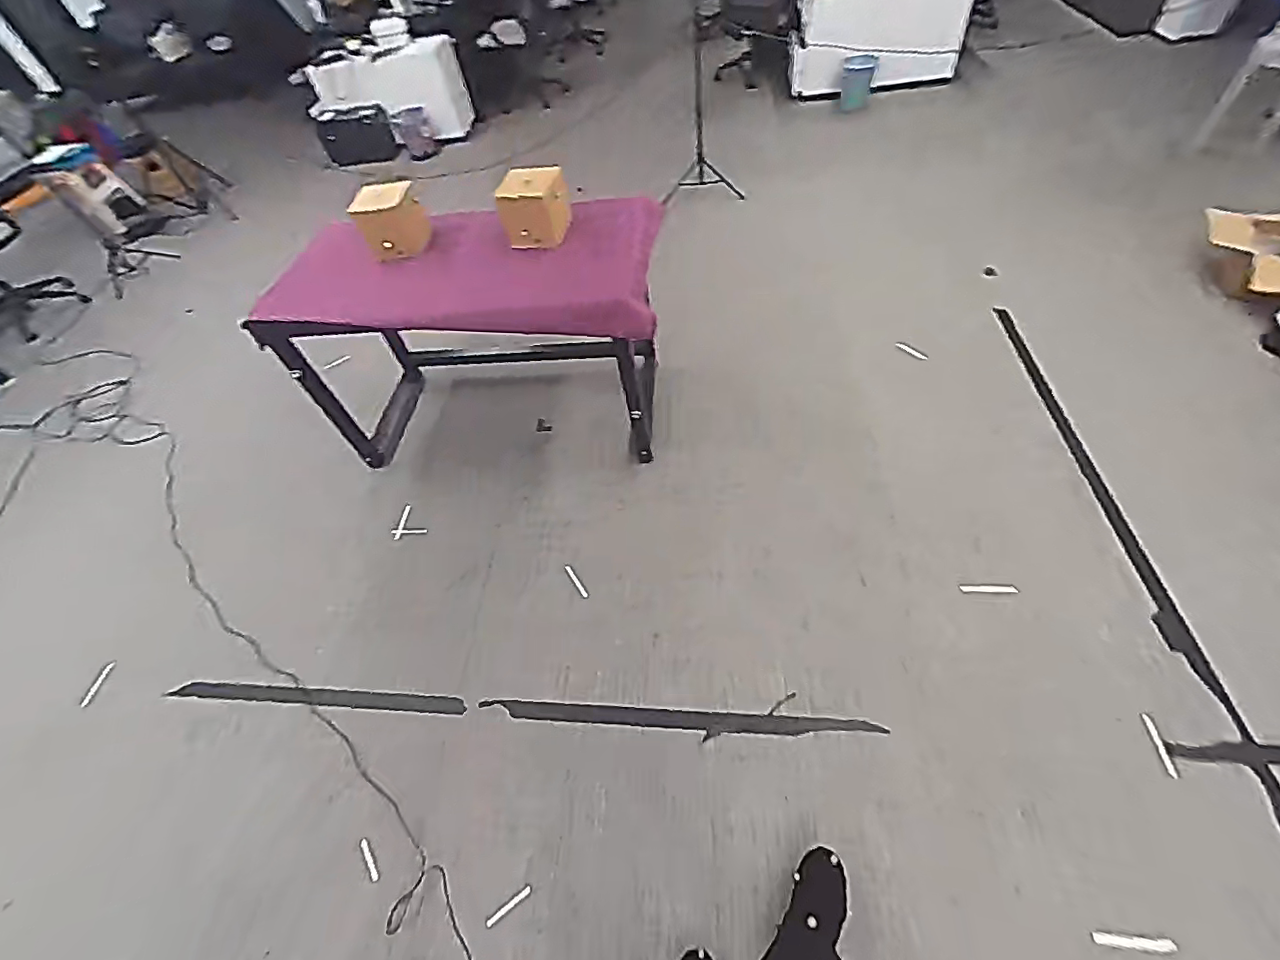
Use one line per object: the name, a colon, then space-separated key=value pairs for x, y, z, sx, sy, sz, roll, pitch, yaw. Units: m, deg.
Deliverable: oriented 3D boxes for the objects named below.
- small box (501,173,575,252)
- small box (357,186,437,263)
small box: x=-0.317 y=-0.852 z=1.726 sx=0.168 sy=0.176 sz=0.179 roll=4 pitch=55 yaw=13
small box: x=-0.799 y=-0.848 z=1.802 sx=0.168 sy=0.176 sz=0.179 roll=-3 pitch=53 yaw=7
